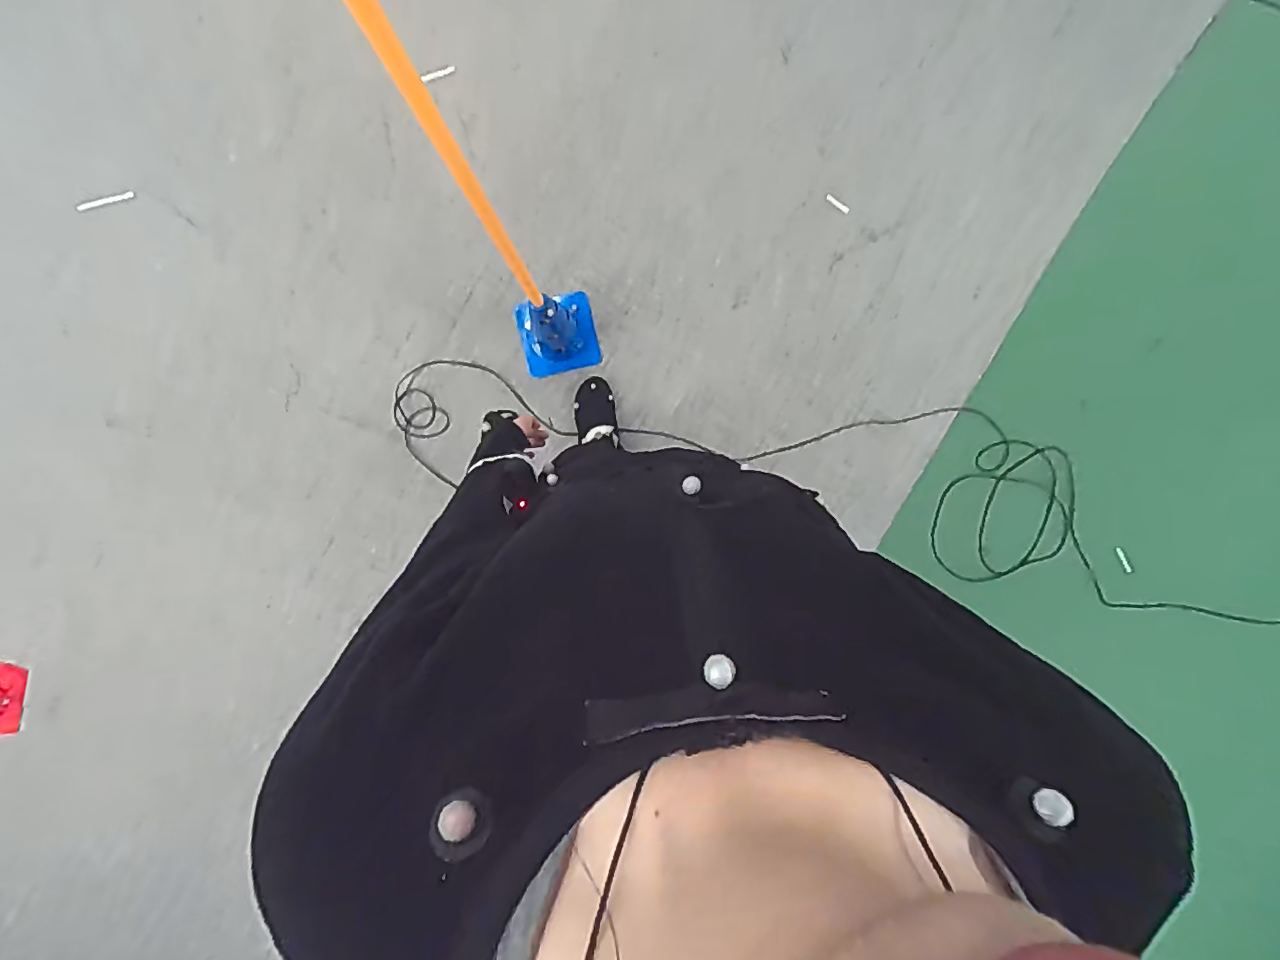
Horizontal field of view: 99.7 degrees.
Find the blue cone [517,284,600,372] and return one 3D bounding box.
[{"bbox_3d":[-0.212,-0.381,1.259,0.192,0.380,0.193,-15,94,-1],"label":"blue cone"}]
